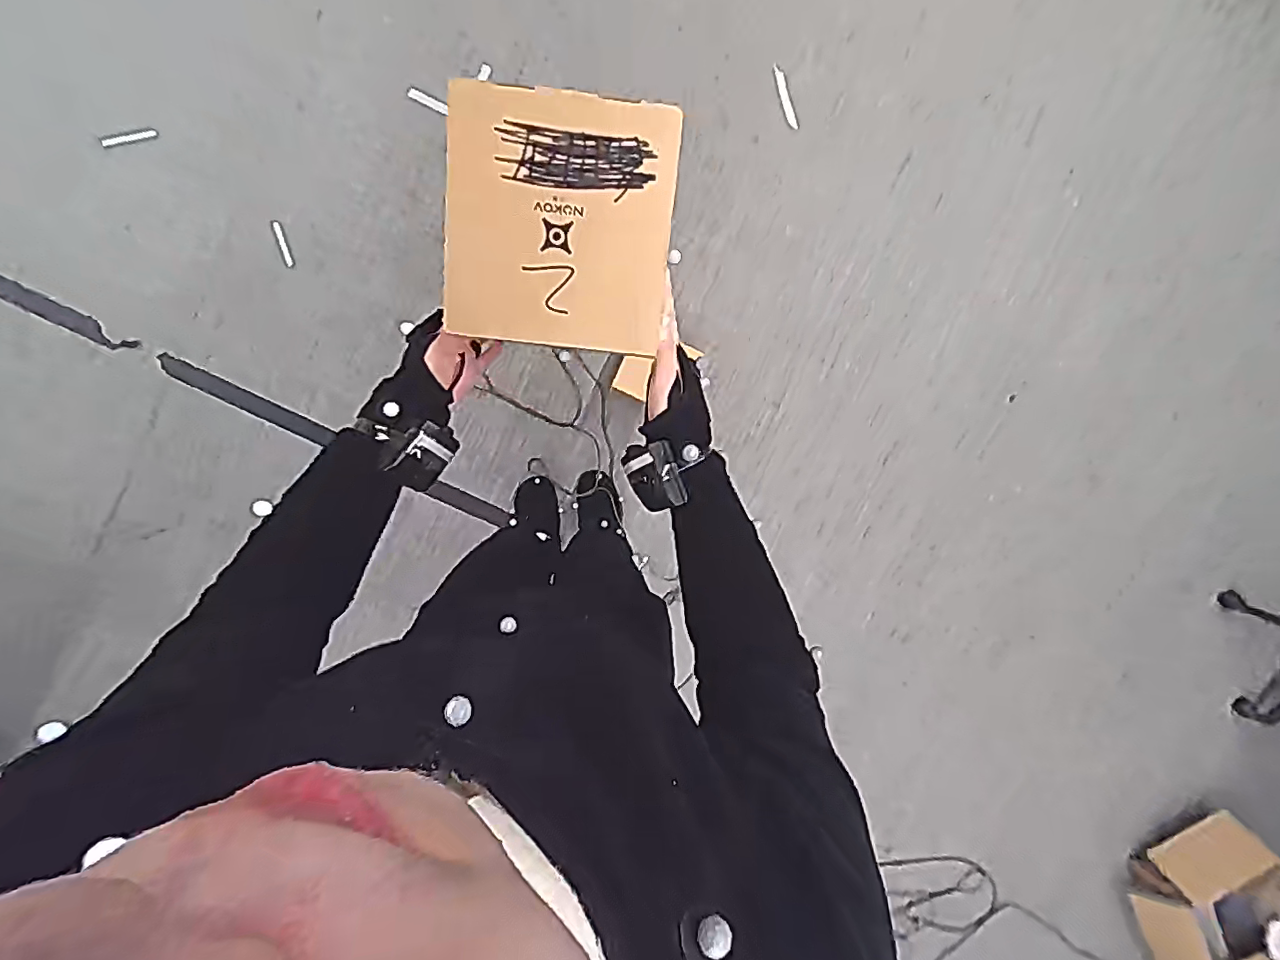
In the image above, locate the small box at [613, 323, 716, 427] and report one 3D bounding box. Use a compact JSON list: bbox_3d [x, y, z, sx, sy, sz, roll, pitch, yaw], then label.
[{"bbox_3d":[0.061,-0.251,1.321,0.168,0.176,0.179,23,74,-26],"label":"small box"}]
